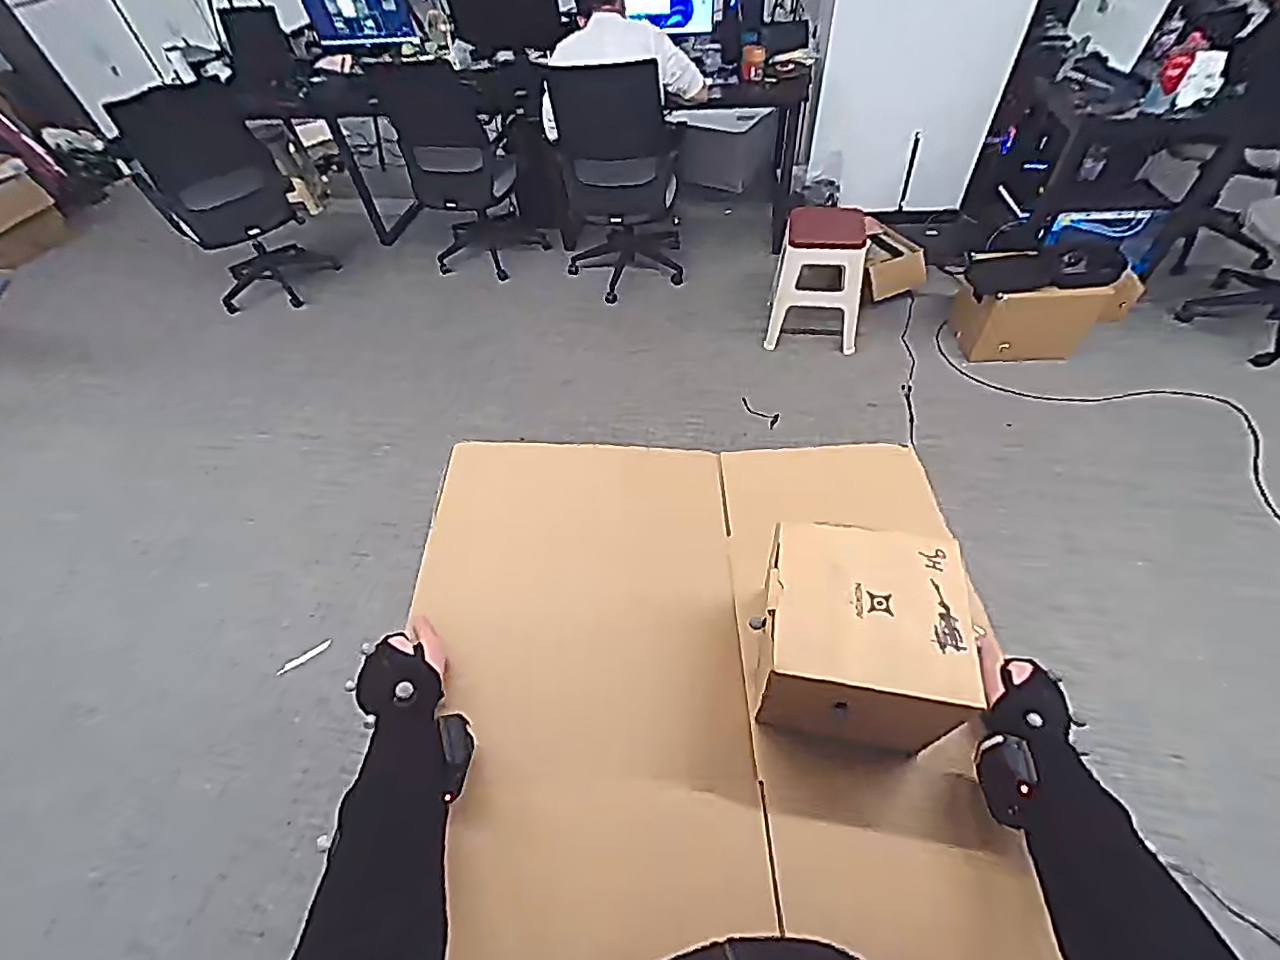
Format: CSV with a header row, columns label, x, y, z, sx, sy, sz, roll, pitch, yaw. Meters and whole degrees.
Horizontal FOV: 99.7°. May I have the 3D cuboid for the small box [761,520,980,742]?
label,x,y,z,sx,sy,sz,roll,pitch,yaw
small box,0.225,0.163,0.577,0.179,0.176,0.168,6,54,12
